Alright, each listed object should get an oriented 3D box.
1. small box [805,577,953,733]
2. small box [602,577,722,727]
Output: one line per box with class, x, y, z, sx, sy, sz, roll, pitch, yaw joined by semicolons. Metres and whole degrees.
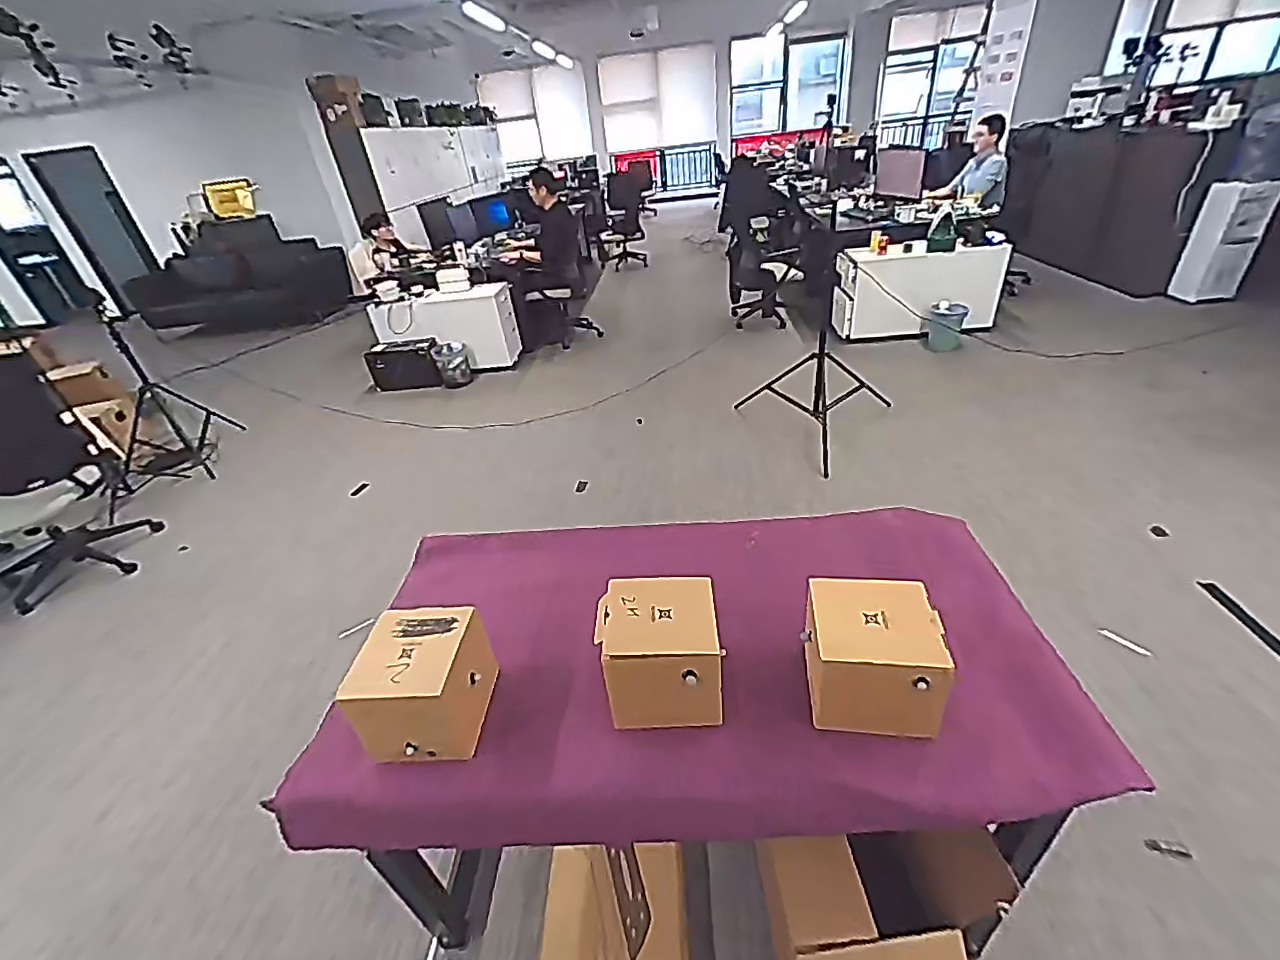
small box;0.355;0.270;0.842;0.179;0.176;0.168;0;34;10
small box;0.040;0.281;0.886;0.179;0.176;0.168;-5;31;4
